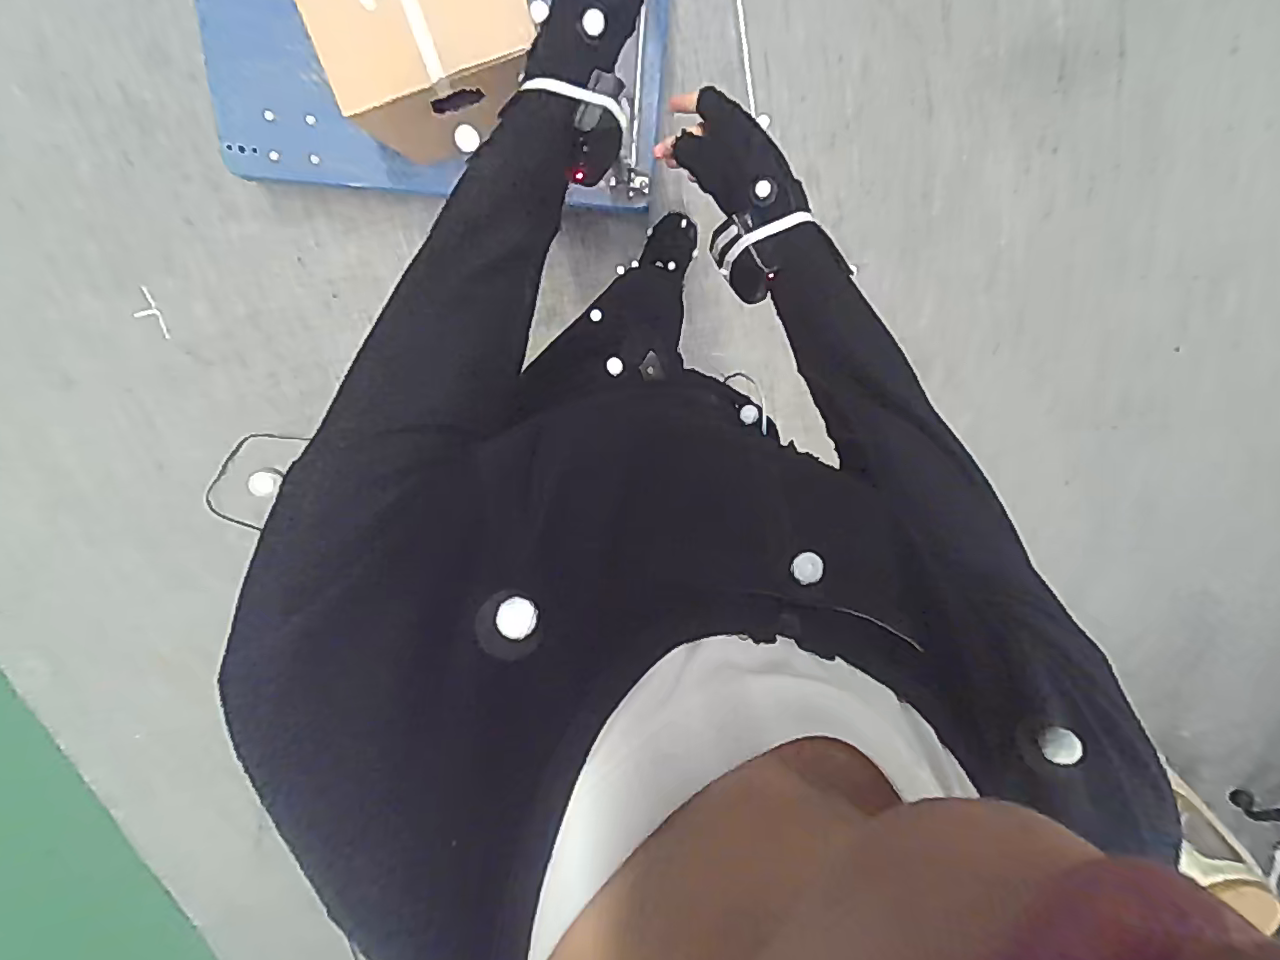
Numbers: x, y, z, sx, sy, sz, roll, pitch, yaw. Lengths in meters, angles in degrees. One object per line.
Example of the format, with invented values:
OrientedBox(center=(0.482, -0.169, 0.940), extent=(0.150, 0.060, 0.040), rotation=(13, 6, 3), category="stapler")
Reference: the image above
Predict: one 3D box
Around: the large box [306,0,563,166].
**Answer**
OrientedBox(center=(-0.349, -0.811, 0.889), extent=(0.320, 0.320, 0.408), rotation=(-17, 108, 5), category="large box")
